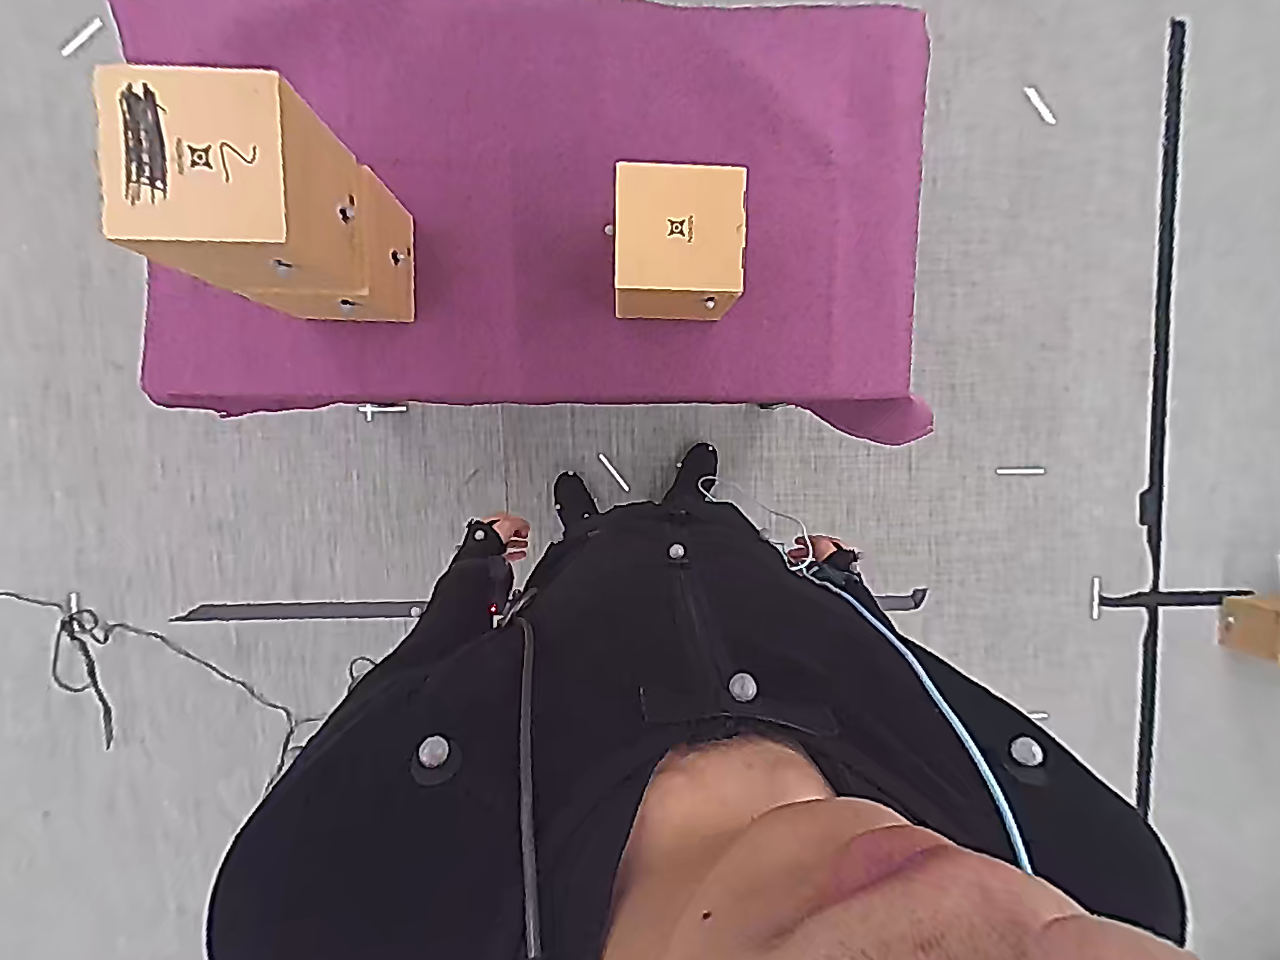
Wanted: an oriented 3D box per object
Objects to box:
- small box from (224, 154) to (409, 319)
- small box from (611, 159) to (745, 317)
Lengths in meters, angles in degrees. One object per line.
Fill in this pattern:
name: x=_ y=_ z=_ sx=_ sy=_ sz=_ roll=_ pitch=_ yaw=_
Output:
small box: x=-0.441 y=-0.330 z=0.766 sx=0.179 sy=0.176 sz=0.168 roll=1 pitch=94 yaw=-3
small box: x=0.047 y=-0.341 z=0.793 sx=0.179 sy=0.176 sz=0.168 roll=0 pitch=94 yaw=-3
